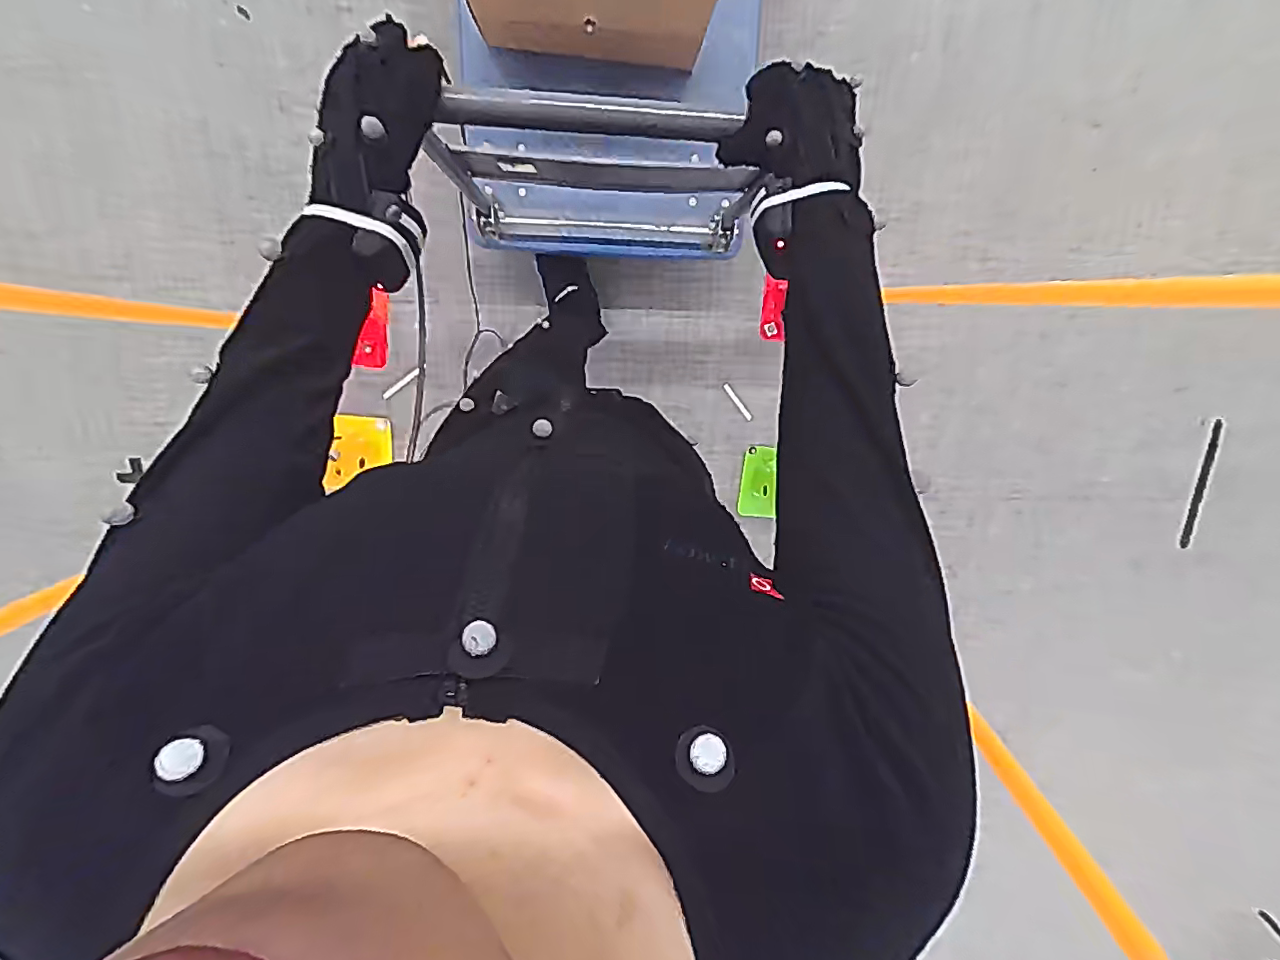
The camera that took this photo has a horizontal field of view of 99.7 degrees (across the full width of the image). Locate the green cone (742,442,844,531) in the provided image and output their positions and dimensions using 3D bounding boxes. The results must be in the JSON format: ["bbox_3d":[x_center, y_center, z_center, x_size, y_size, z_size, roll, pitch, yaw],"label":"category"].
[{"bbox_3d":[0.401,0.046,1.328,0.202,0.368,0.200,4,106,-5],"label":"green cone"}]

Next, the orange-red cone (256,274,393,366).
[{"bbox_3d":[-0.699,-0.345,1.160,0.198,0.360,0.199,7,104,-6],"label":"orange-red cone"}]

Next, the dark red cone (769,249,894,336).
[{"bbox_3d":[0.433,-0.415,1.178,0.201,0.394,0.202,0,106,-5],"label":"dark red cone"}]

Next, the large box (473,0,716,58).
[{"bbox_3d":[-0.072,-0.934,0.869,0.408,0.320,0.320,3,106,-3],"label":"large box"}]
